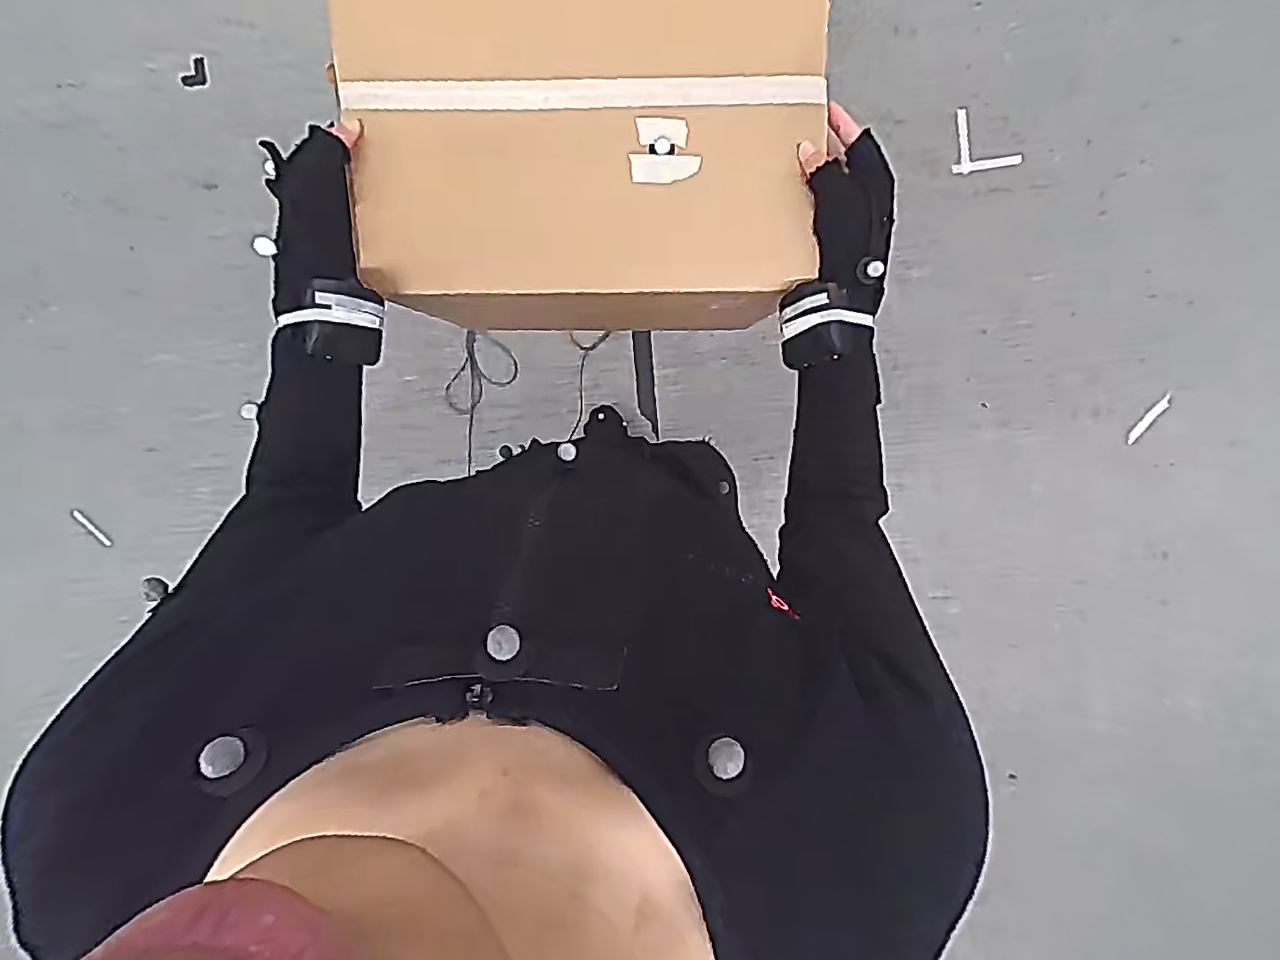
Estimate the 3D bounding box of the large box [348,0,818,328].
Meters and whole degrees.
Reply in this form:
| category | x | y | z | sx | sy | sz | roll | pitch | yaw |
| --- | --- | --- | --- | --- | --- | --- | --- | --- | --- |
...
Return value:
| category | x | y | z | sx | sy | sz | roll | pitch | yaw |
| --- | --- | --- | --- | --- | --- | --- | --- | --- | --- |
| large box | -0.049 | -0.354 | 0.615 | 0.408 | 0.320 | 0.320 | -1 | 101 | -1 |
